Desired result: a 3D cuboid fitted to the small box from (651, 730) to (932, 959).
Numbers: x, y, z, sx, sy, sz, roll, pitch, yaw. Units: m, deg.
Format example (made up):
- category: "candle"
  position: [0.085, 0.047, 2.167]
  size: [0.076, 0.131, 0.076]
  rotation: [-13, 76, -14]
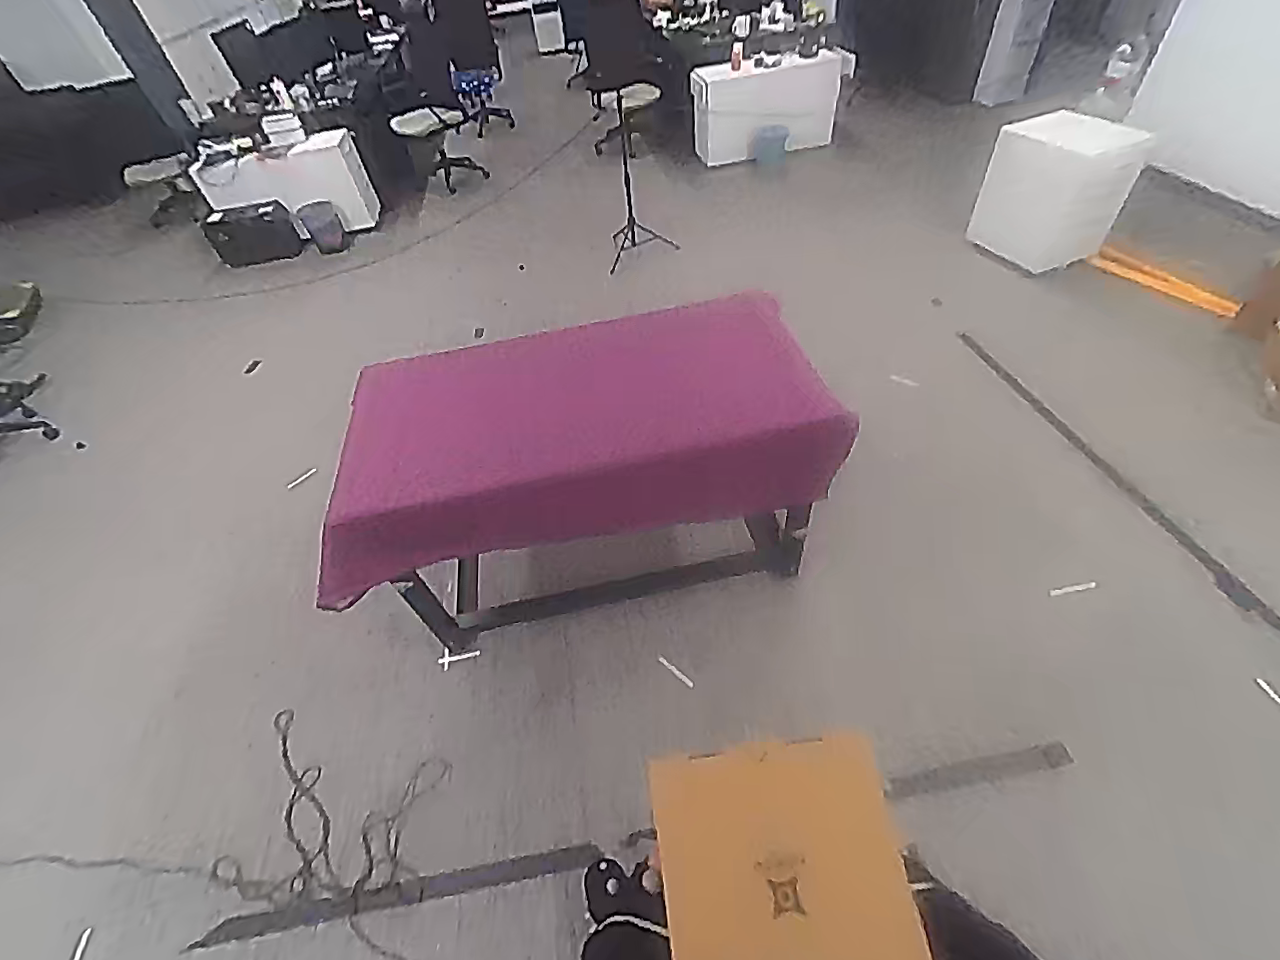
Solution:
- category: "small box"
  position: [0.108, 0.310, 0.434]
  size: [0.168, 0.176, 0.179]
  rotation: [-10, 60, 2]
